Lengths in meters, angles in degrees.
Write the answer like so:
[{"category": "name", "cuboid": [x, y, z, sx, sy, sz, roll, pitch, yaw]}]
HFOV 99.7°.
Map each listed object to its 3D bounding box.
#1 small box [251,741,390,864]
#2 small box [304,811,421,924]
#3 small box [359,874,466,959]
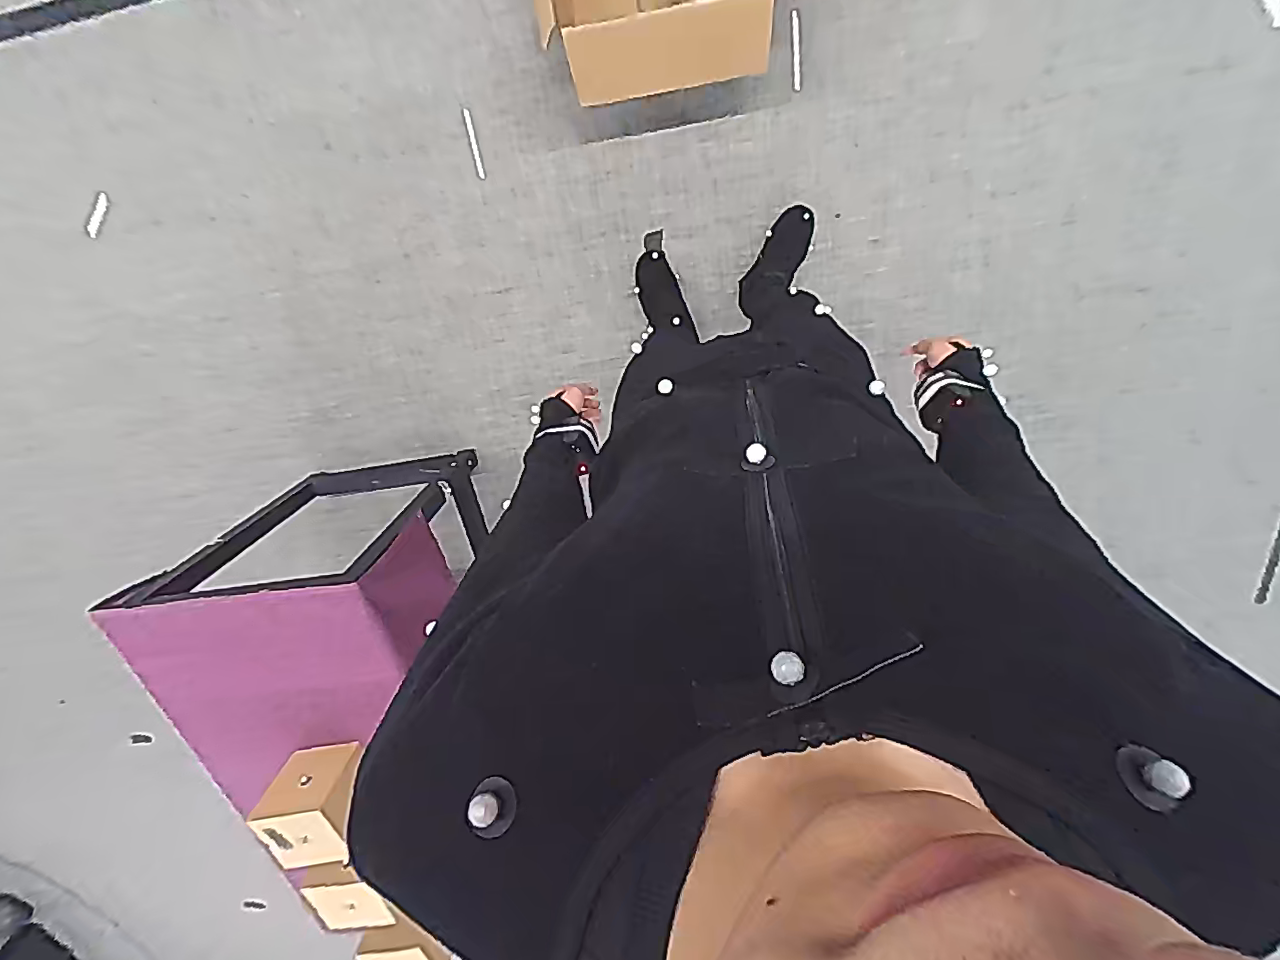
[{"category": "small box", "cuboid": [-0.708, 0.722, 1.219, 0.179, 0.176, 0.168, -13, 114, 8]}, {"category": "small box", "cuboid": [-0.659, 0.937, 1.317, 0.179, 0.176, 0.168, -9, 114, 7]}, {"category": "small box", "cuboid": [-0.590, 1.180, 1.426, 0.179, 0.176, 0.168, -11, 114, 8]}]
